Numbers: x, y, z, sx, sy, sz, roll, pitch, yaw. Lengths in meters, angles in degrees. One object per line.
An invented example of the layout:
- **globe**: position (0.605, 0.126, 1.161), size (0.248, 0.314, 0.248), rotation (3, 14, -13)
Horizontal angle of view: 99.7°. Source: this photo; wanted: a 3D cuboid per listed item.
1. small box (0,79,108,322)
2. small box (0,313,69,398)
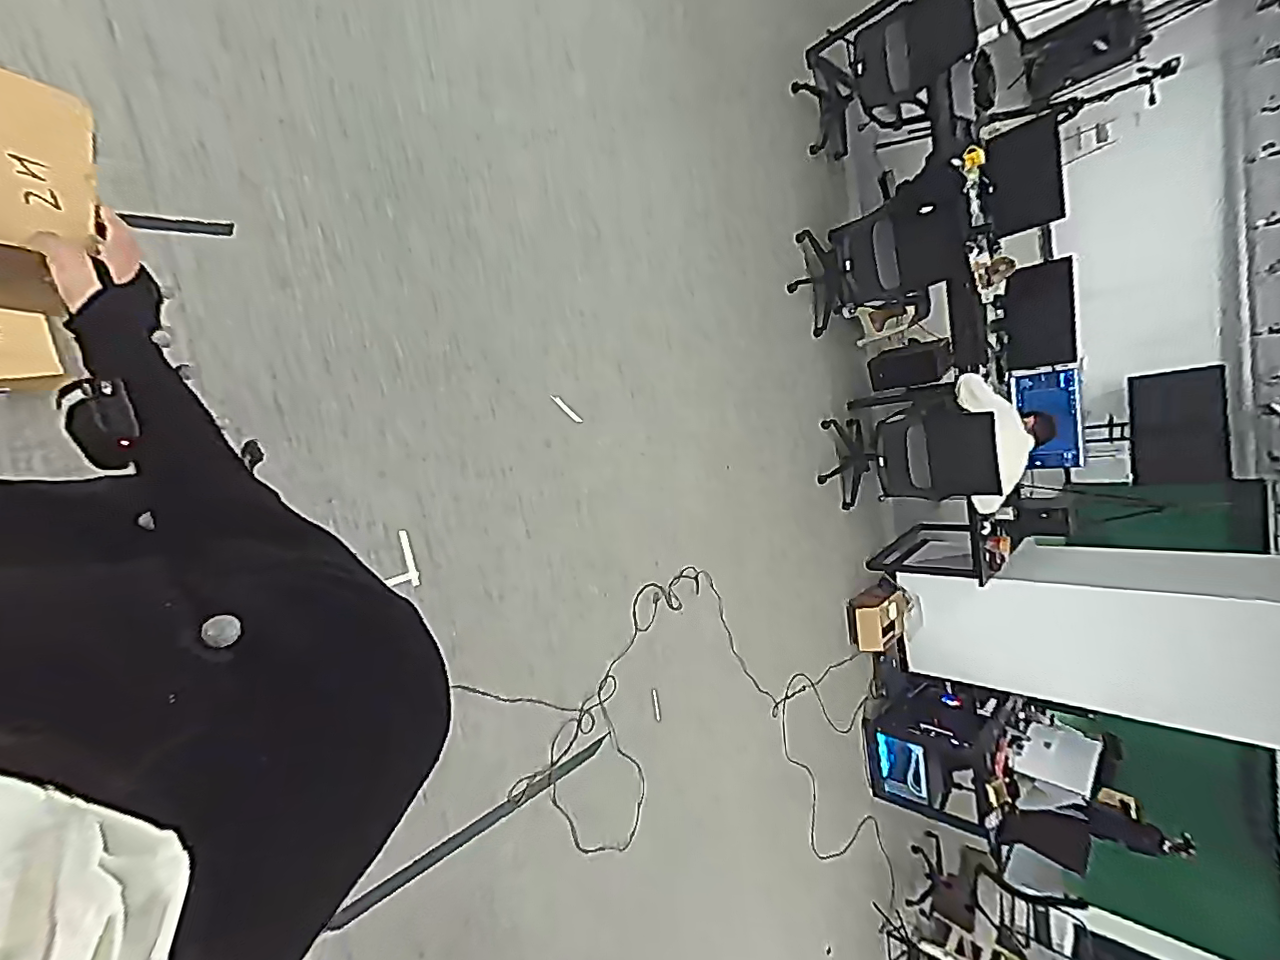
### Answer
- **small box**: position (-0.636, -0.266, 0.513), size (0.179, 0.176, 0.168), rotation (-1, 83, -50)
- **small box**: position (-1.231, -0.257, 1.027), size (0.168, 0.176, 0.179), rotation (-19, 101, -43)
